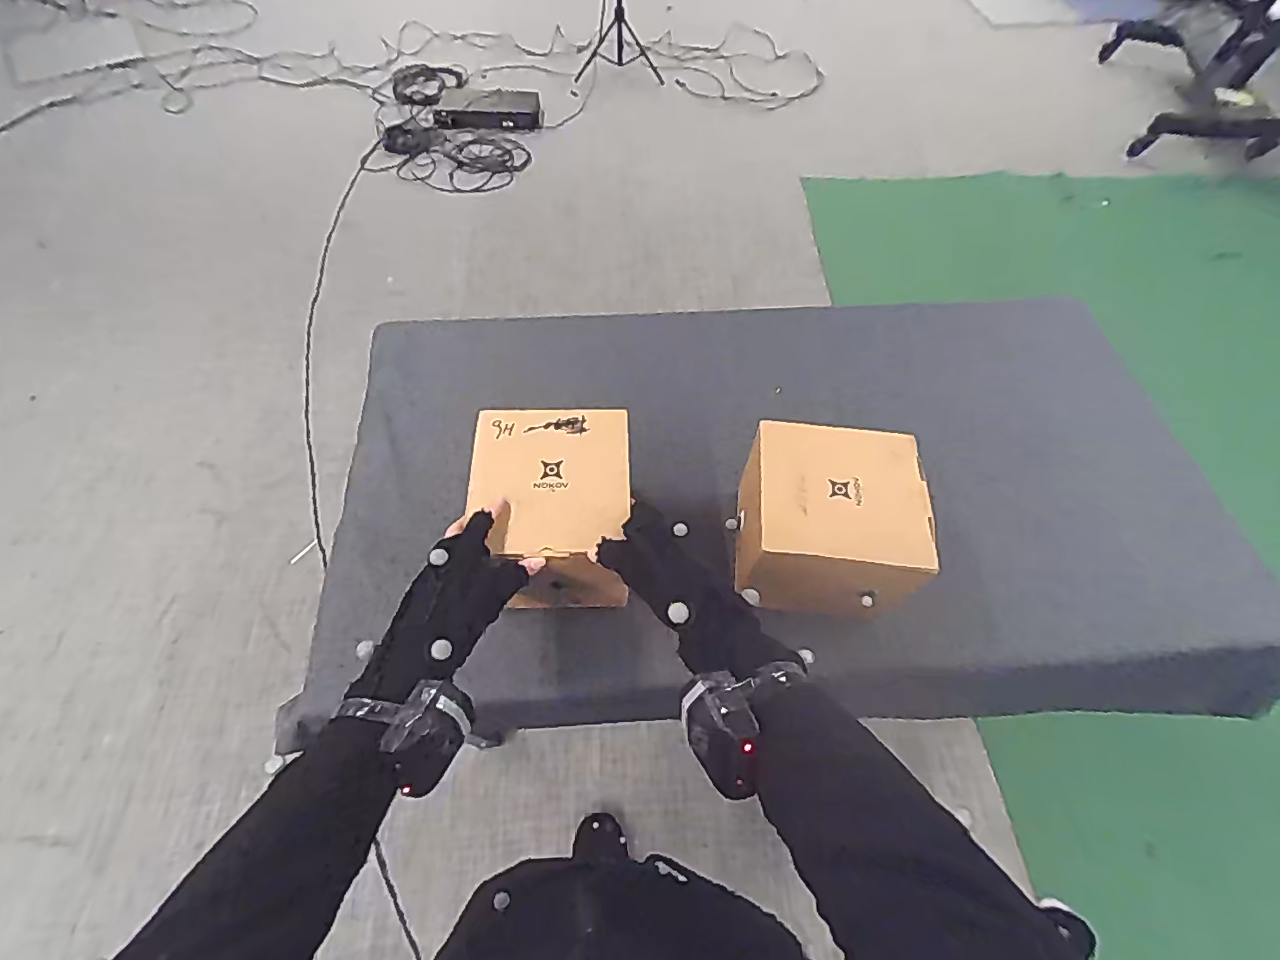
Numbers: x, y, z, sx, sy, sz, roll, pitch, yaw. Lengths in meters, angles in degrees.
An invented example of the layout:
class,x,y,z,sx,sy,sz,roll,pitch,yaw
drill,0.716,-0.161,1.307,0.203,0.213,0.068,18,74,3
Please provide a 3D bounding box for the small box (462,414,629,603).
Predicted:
class,x,y,z,sx,sy,sz,roll,pitch,yaw
small box,-0.096,0.041,0.635,0.168,0.176,0.179,0,61,-3

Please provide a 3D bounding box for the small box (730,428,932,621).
class,x,y,z,sx,sy,sz,roll,pitch,yaw
small box,0.210,0.060,0.643,0.179,0.176,0.168,6,59,2
